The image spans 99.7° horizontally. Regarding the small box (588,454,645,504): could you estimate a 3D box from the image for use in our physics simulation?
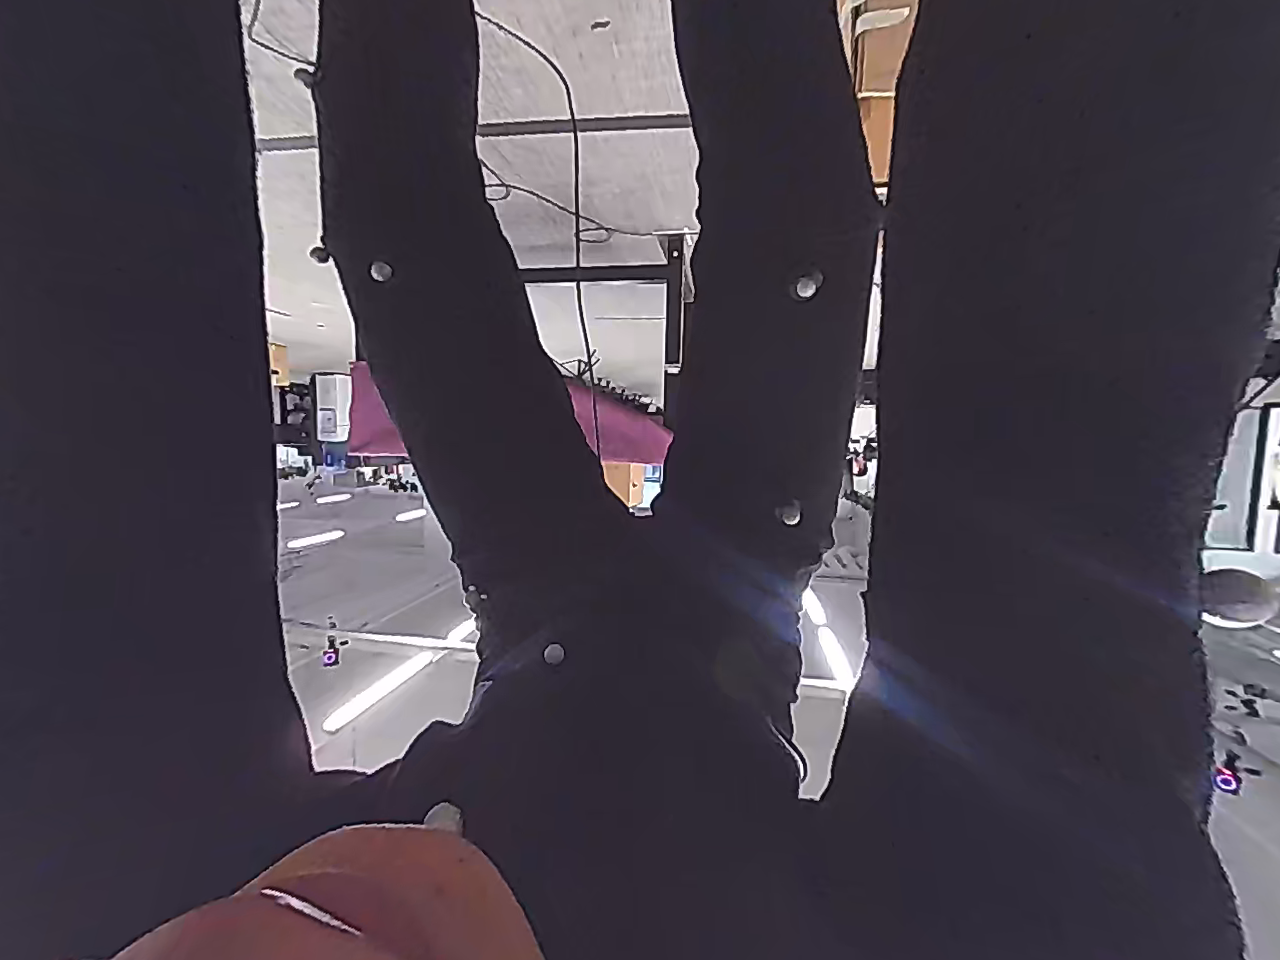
[{"bbox_3d":[-0.085,-0.010,1.983,0.168,0.176,0.179,4,-174,17],"label":"small box"}]
